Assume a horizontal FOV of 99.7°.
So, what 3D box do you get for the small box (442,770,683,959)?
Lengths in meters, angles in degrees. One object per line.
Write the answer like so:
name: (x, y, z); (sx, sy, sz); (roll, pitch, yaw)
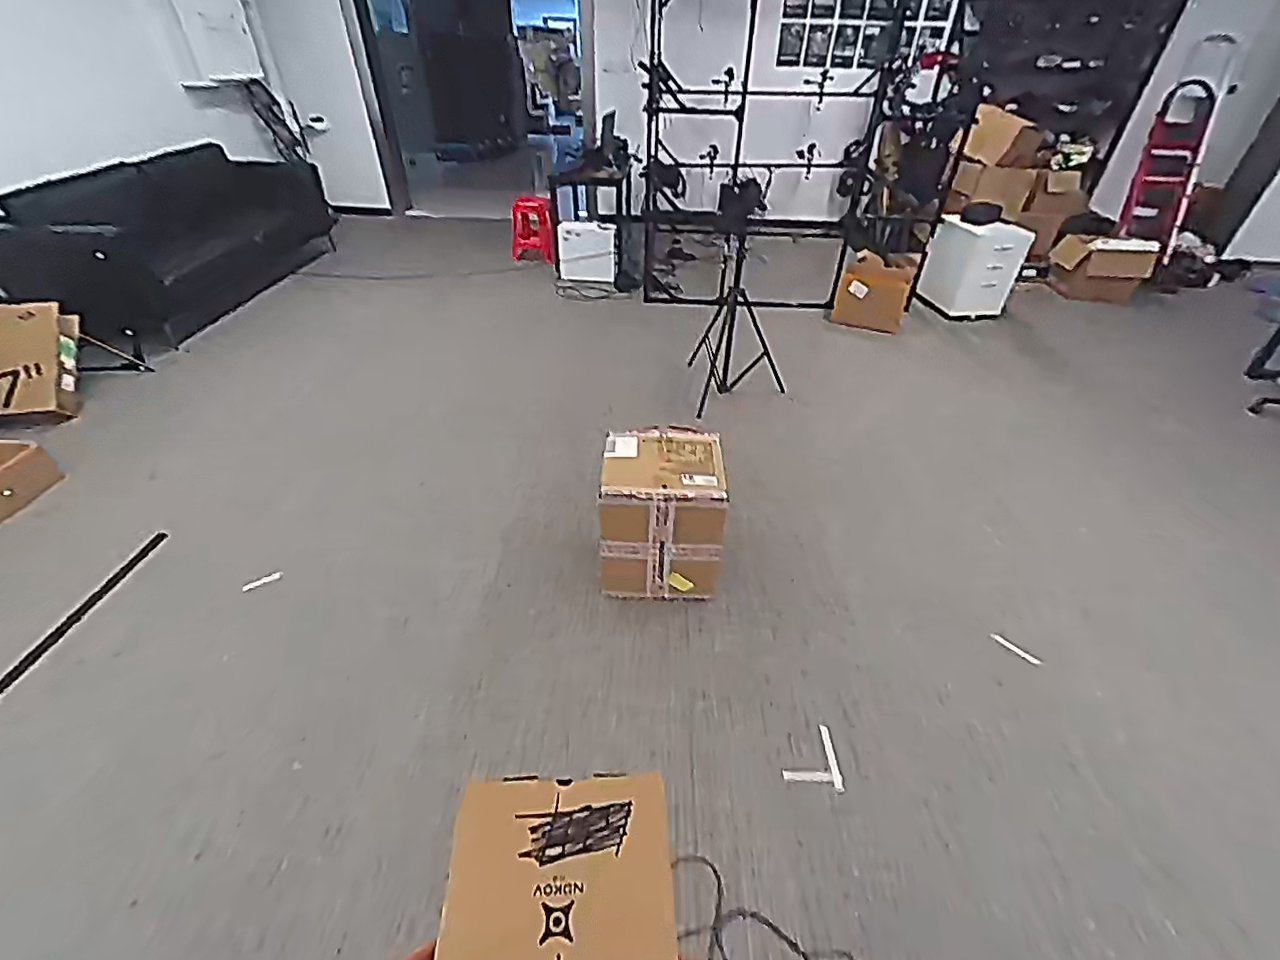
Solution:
small box: (-0.058, 0.363, 0.443); (0.168, 0.176, 0.179); (0, 42, -4)
